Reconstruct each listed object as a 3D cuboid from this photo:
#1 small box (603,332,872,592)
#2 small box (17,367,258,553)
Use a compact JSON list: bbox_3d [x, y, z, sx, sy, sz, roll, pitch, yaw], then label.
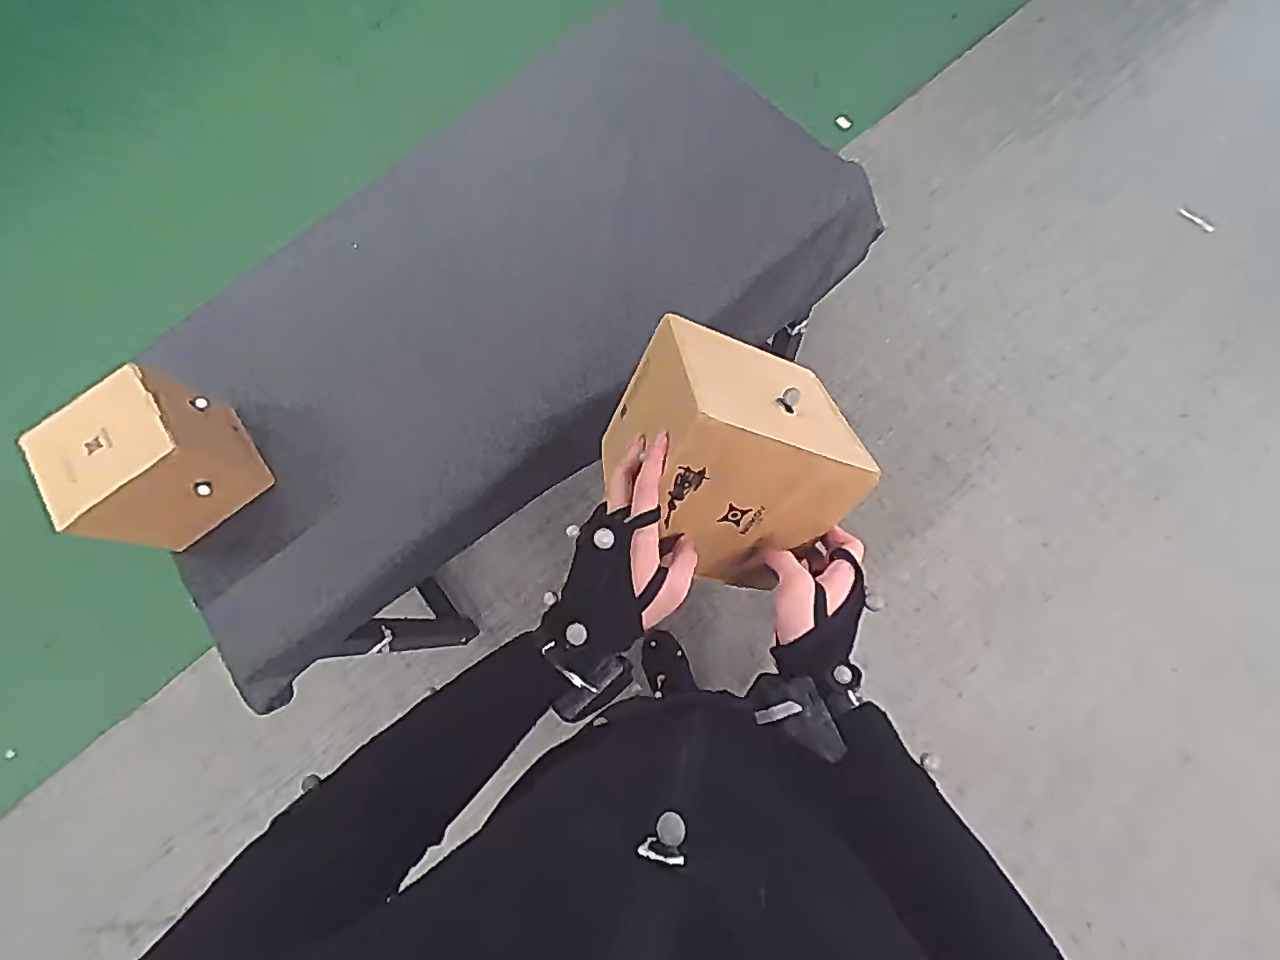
[{"bbox_3d":[0.076,-0.018,0.525,0.179,0.168,0.176,15,37,-21],"label":"small box"},{"bbox_3d":[-0.688,-0.019,0.764,0.179,0.176,0.168,-37,72,-4],"label":"small box"}]
